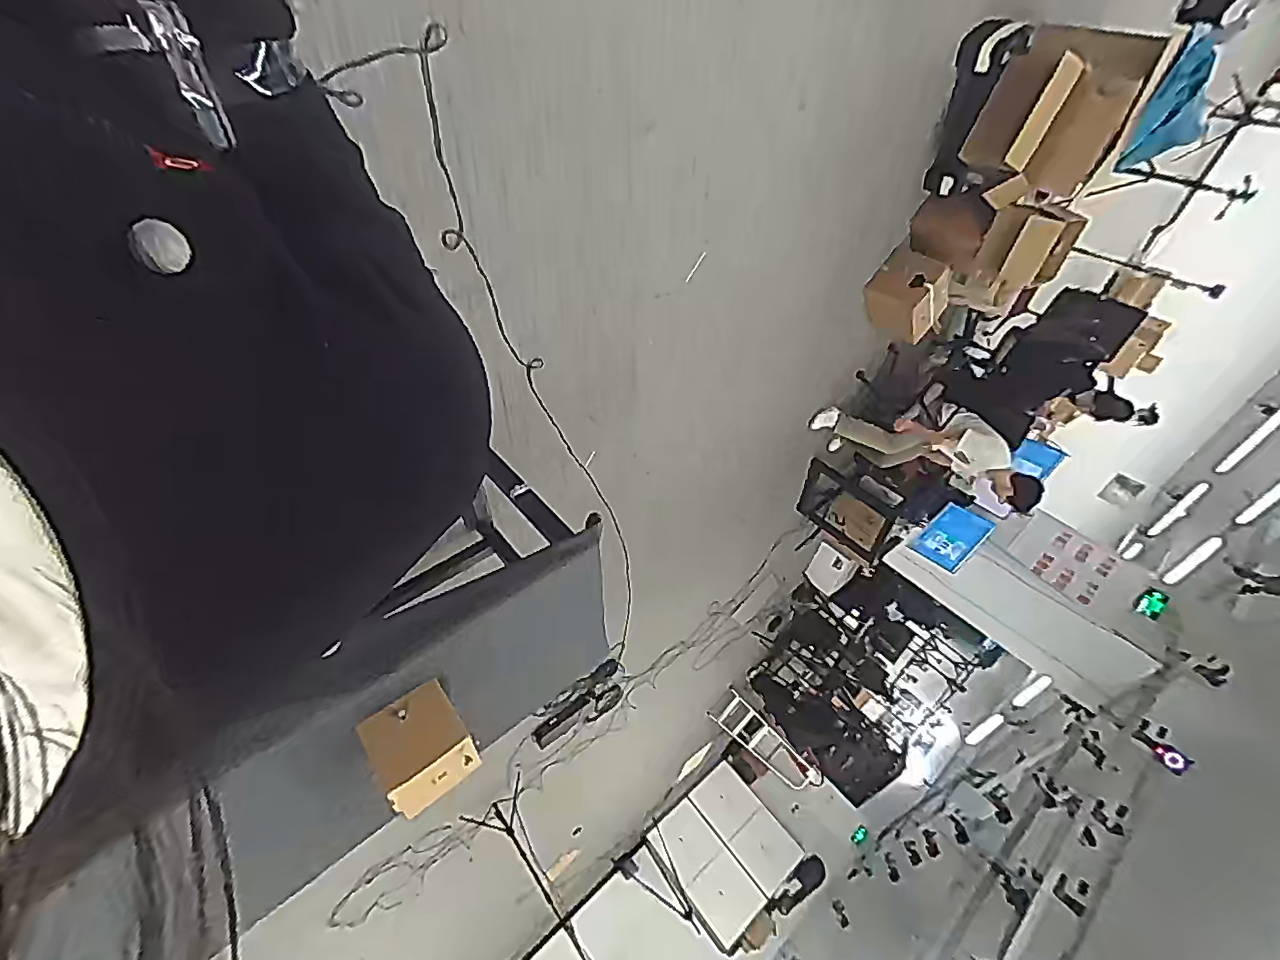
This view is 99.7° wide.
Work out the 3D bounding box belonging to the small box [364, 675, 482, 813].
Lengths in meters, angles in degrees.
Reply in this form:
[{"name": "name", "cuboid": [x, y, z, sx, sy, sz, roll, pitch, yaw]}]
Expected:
[{"name": "small box", "cuboid": [-0.469, 0.563, 1.164, 0.179, 0.176, 0.168, -30, 144, -29]}]
